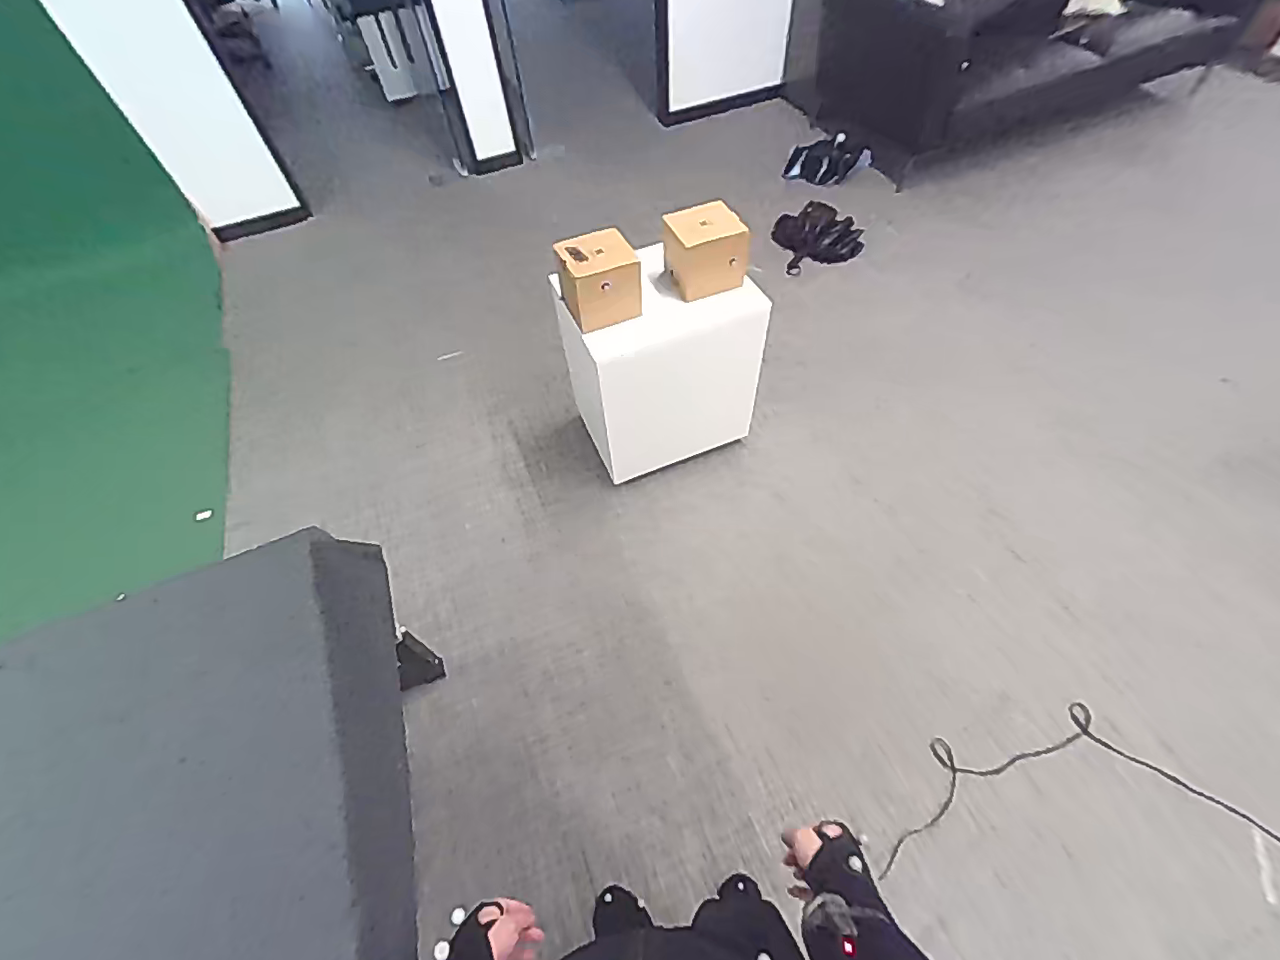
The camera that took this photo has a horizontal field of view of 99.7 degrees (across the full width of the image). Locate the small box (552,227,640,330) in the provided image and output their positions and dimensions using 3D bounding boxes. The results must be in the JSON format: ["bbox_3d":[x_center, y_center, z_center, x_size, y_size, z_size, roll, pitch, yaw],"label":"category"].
[{"bbox_3d":[-0.110,-0.516,1.396,0.179,0.176,0.168,-21,57,-13],"label":"small box"}]

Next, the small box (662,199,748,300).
[{"bbox_3d":[0.167,-0.614,1.449,0.179,0.176,0.168,-20,56,-8],"label":"small box"}]
